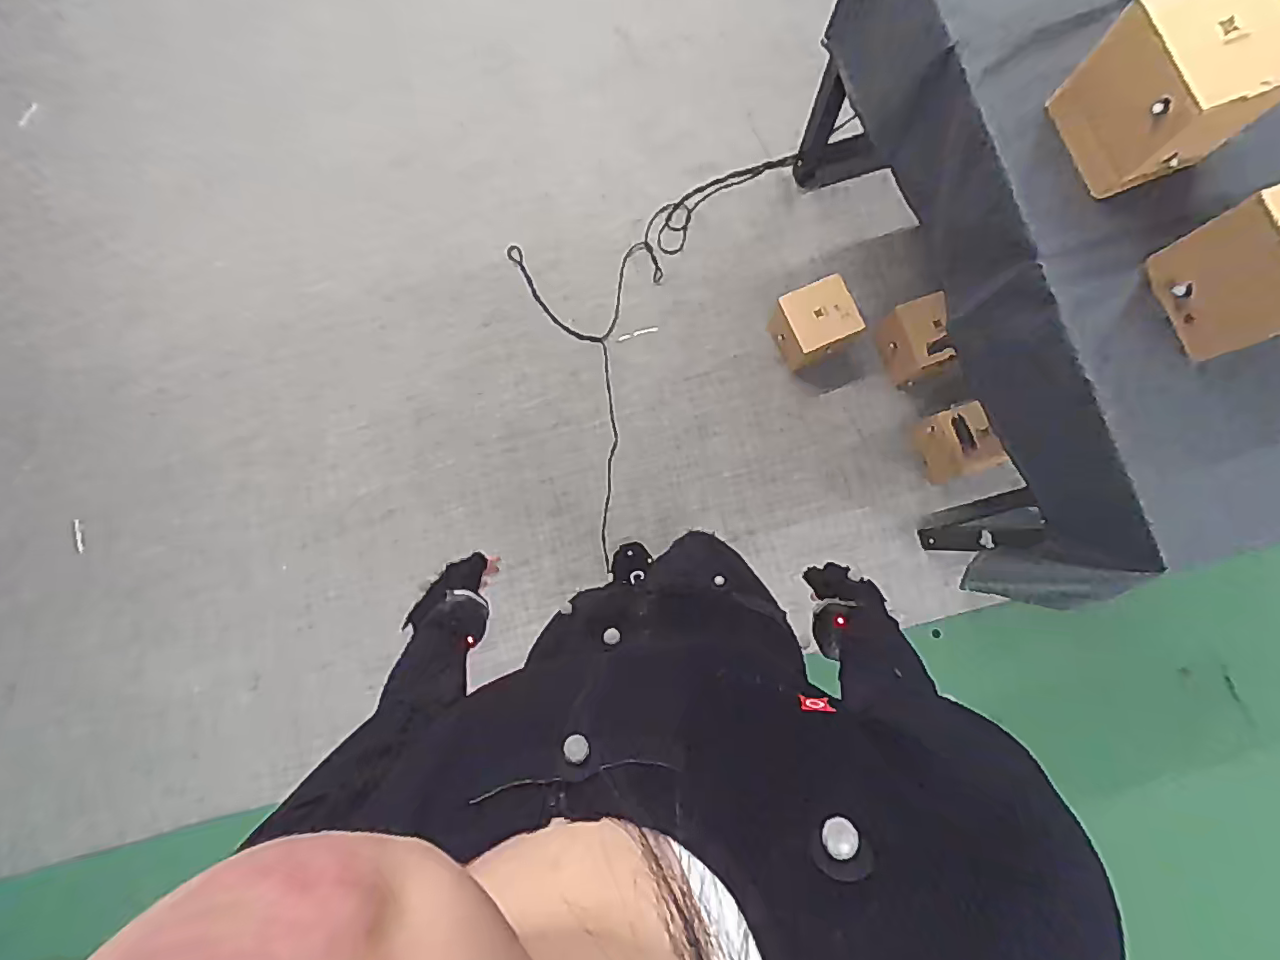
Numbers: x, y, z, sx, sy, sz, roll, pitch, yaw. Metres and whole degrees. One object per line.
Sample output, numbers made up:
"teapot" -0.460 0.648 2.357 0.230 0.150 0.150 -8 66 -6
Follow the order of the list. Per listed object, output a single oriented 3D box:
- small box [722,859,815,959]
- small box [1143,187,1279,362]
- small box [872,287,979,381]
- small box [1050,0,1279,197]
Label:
"small box" 0.308 1.069 1.323 0.168 0.176 0.179 -17 83 1
"small box" 0.833 -0.276 0.702 0.179 0.176 0.168 -19 83 1
"small box" 0.754 -0.379 1.446 0.168 0.176 0.179 -18 83 1
"small box" 0.716 -0.532 0.735 0.168 0.176 0.179 -21 84 0
